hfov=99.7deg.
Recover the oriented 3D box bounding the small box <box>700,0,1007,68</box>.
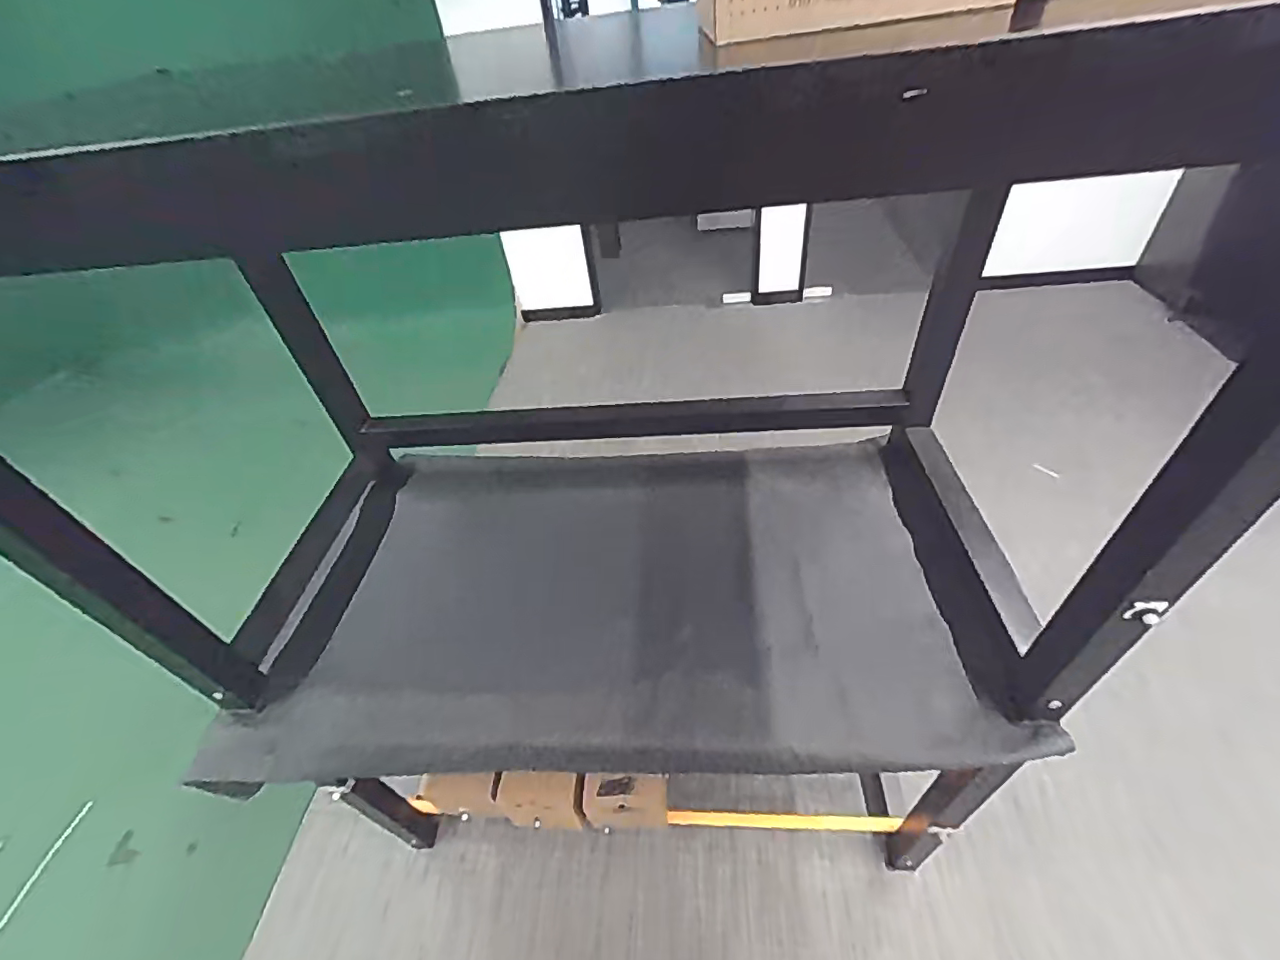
[{"bbox_3d":[0.119,-0.361,0.319,0.168,0.176,0.179,-4,43,6],"label":"small box"}]
